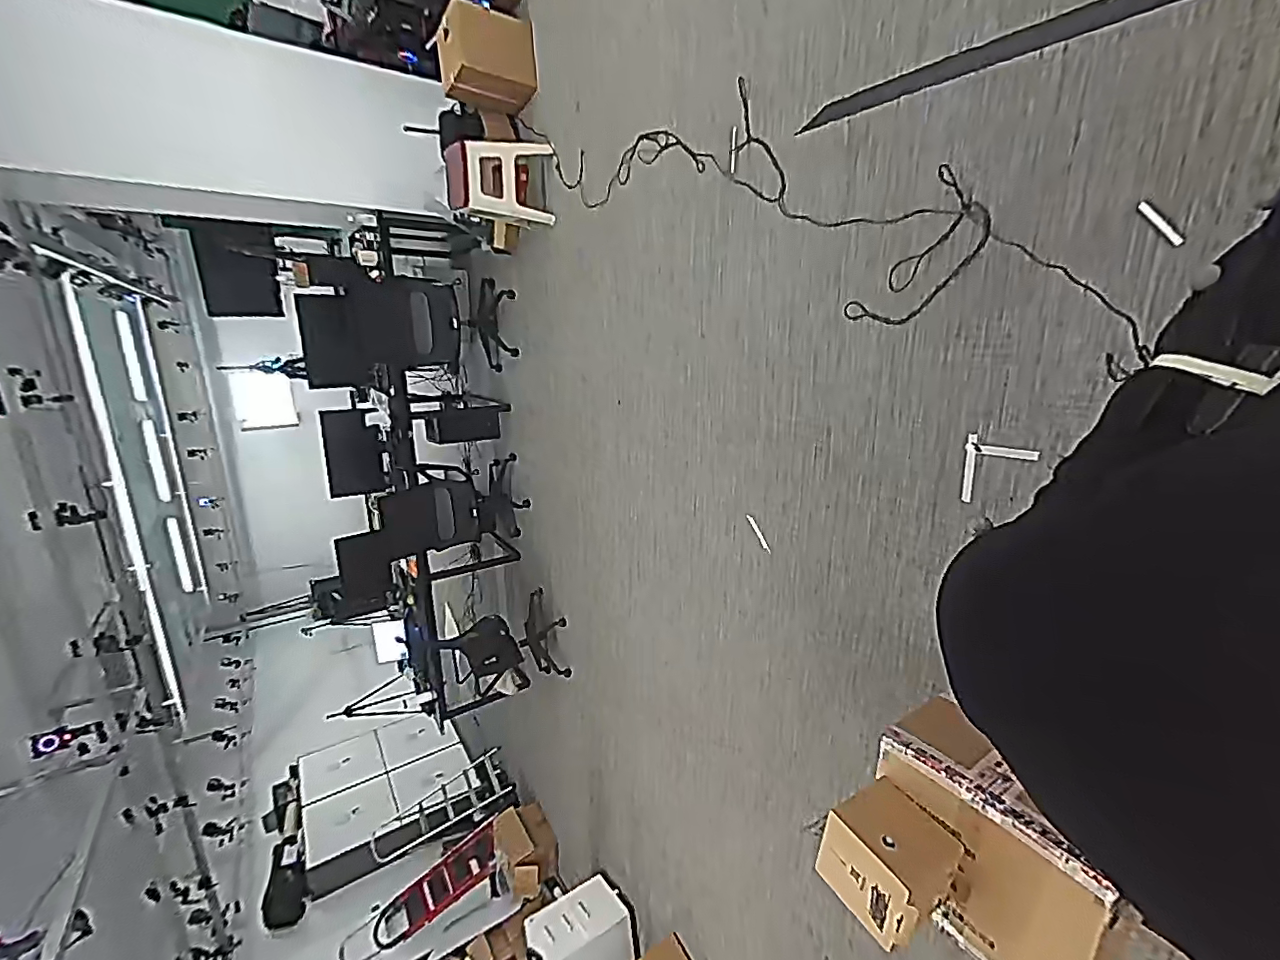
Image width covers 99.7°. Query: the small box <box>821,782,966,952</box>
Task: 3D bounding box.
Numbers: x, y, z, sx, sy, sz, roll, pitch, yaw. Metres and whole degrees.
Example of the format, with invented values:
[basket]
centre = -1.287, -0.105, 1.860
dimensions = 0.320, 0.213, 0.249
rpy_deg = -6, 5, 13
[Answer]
[small box]
centre = 0.482, 0.724, 1.034
dimensions = 0.179, 0.176, 0.168
rpy_deg = 33, 124, 53
